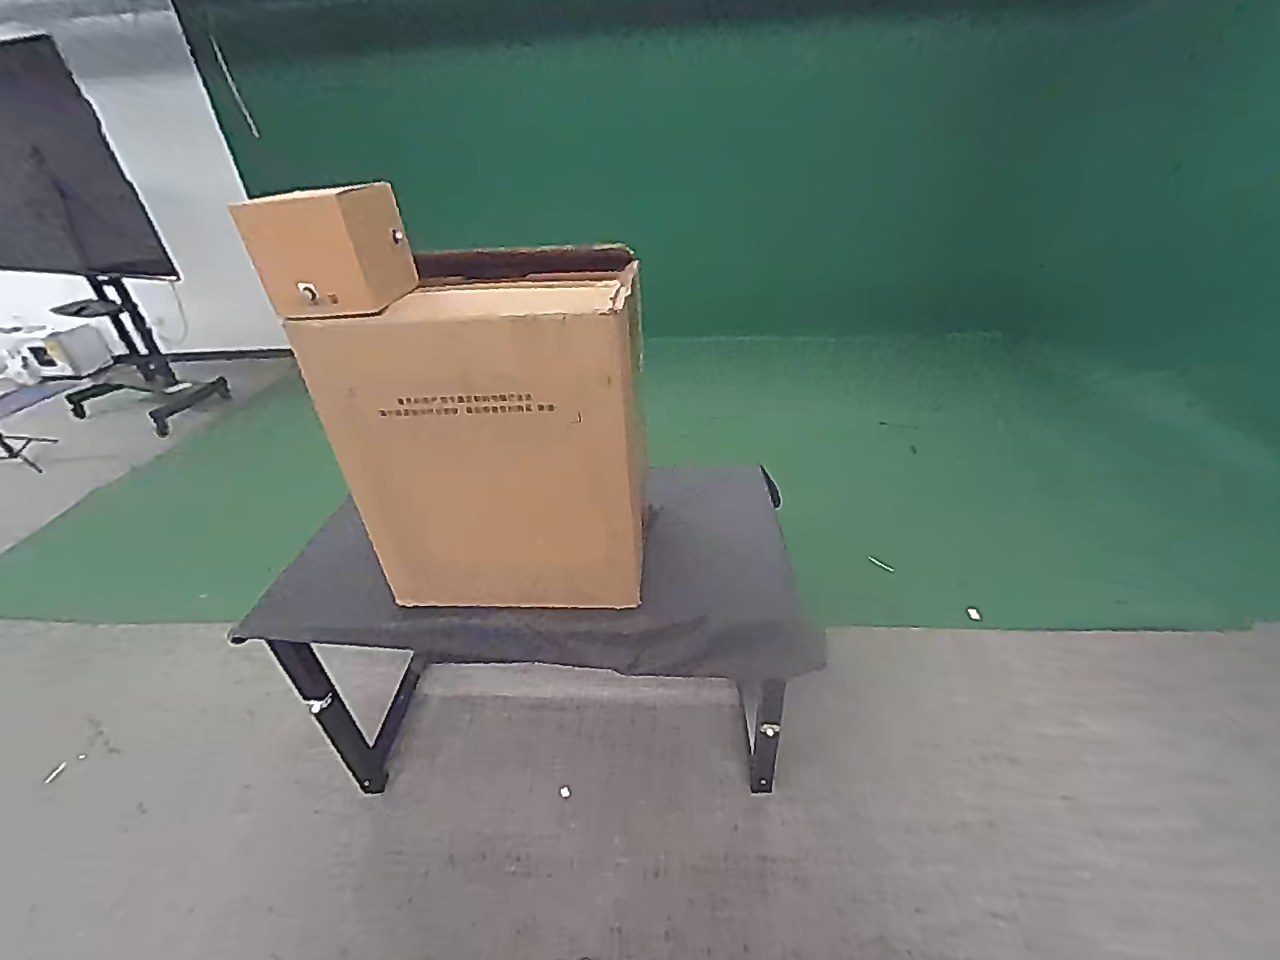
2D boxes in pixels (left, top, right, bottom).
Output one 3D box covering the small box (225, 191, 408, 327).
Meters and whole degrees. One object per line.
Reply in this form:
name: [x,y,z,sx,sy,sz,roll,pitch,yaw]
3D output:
small box: [-0.497,-0.355,0.868,0.168,0.176,0.179,-4,34,4]
